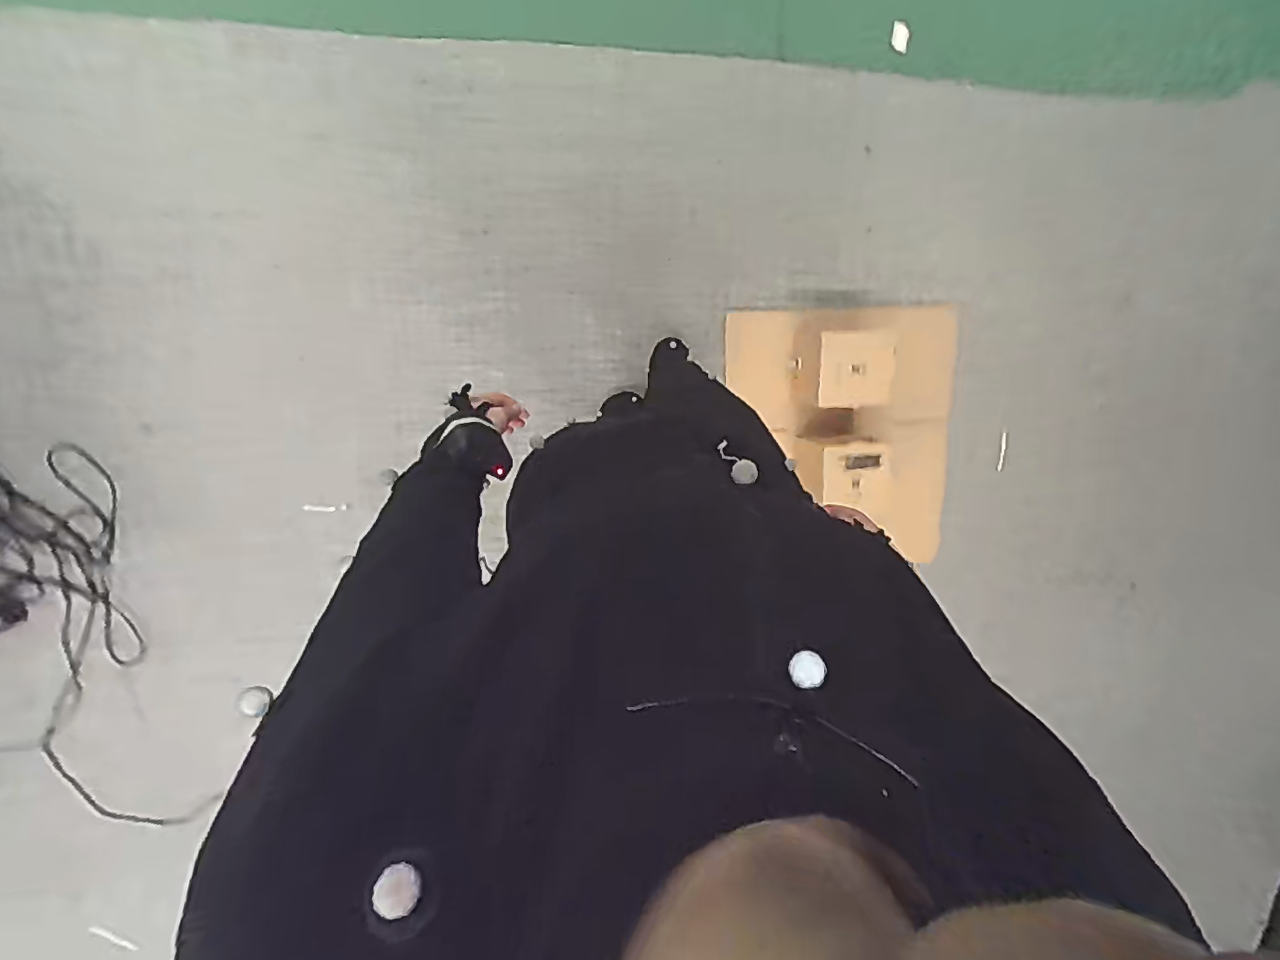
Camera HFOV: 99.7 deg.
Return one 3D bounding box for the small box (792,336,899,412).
[{"bbox_3d":[0.476,-0.251,1.270,0.179,0.176,0.168,-3,102,-5],"label":"small box"}]
